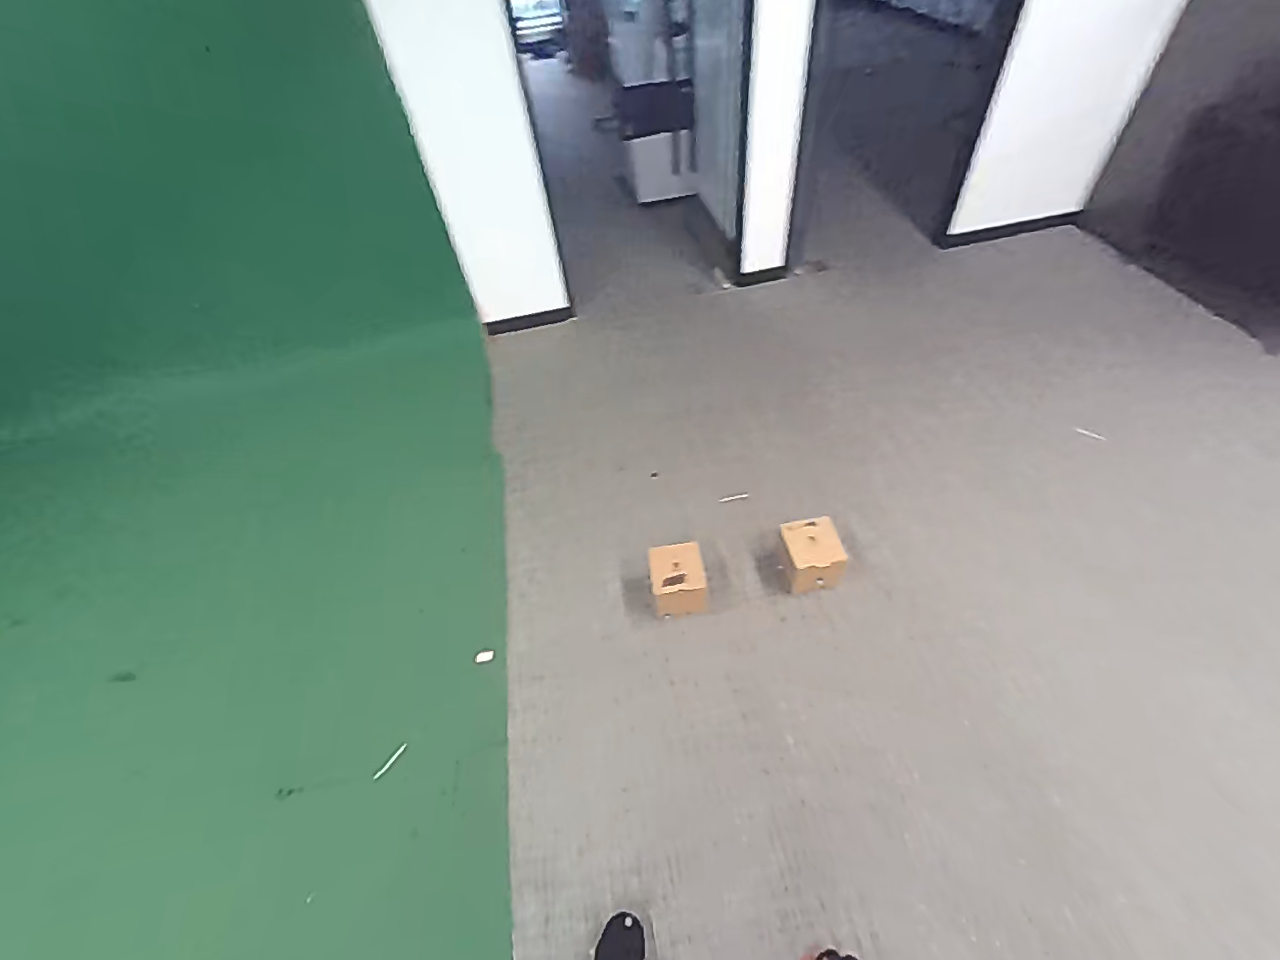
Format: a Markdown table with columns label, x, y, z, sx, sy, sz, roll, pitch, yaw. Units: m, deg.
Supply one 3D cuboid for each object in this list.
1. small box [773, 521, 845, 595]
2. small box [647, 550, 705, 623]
| label | x | y | z | sx | sy | sz | roll | pitch | yaw |
| --- | --- | --- | --- | --- | --- | --- | --- | --- | --- |
| small box | 0.546 | 0.263 | 1.767 | 0.168 | 0.176 | 0.179 | -10 | 49 | -2 |
| small box | 0.118 | 0.353 | 1.761 | 0.168 | 0.176 | 0.179 | -7 | 48 | -1 |
